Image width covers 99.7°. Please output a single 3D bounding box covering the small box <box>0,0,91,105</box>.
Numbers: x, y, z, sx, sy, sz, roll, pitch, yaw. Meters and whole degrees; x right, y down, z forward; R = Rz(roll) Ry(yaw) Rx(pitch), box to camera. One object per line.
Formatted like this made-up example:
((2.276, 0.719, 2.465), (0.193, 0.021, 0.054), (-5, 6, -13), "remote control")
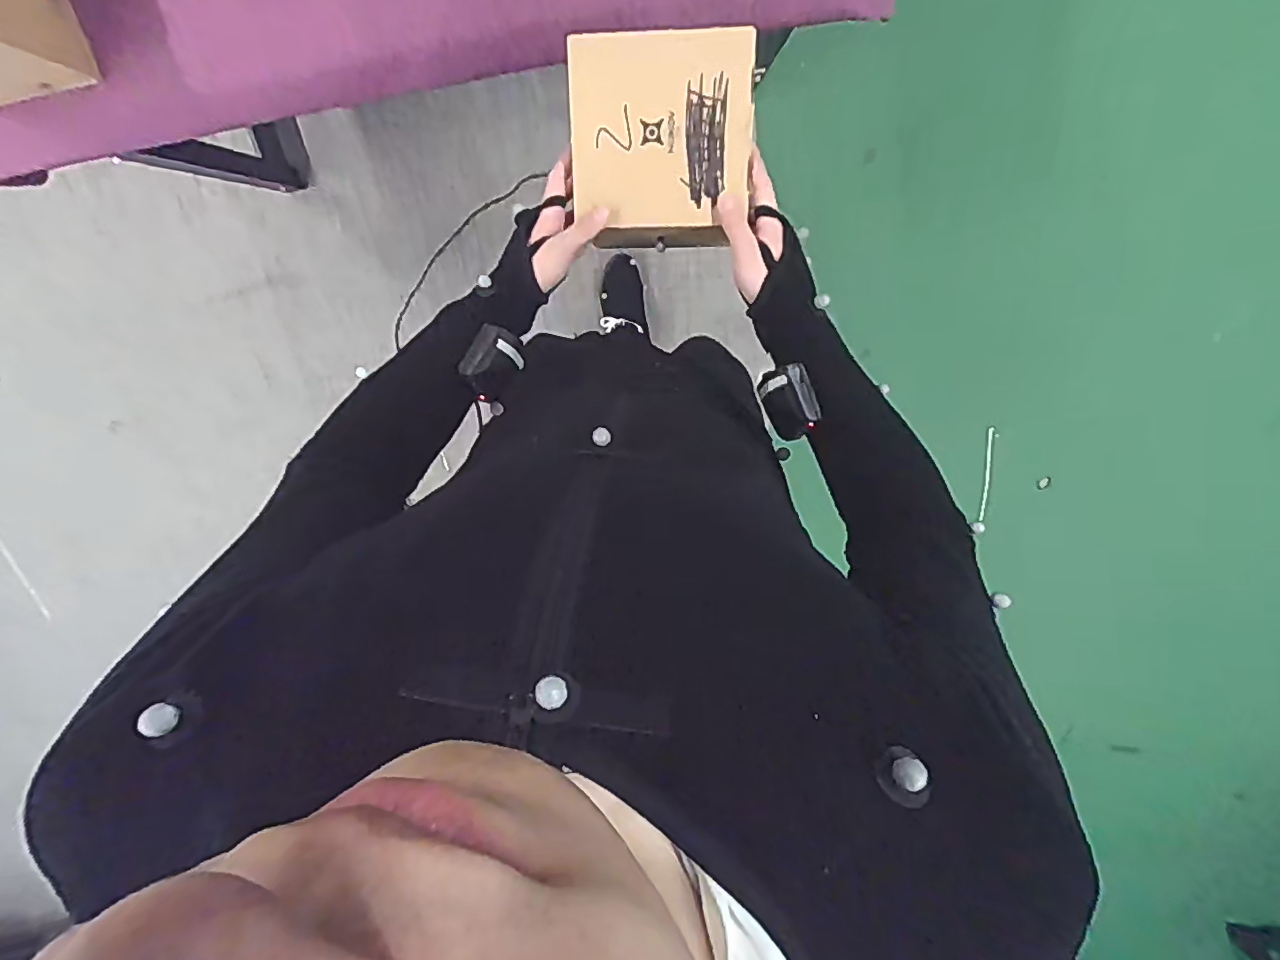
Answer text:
((-0.778, -0.540, 0.582), (0.168, 0.176, 0.179), (-9, 110, 4), "small box")
